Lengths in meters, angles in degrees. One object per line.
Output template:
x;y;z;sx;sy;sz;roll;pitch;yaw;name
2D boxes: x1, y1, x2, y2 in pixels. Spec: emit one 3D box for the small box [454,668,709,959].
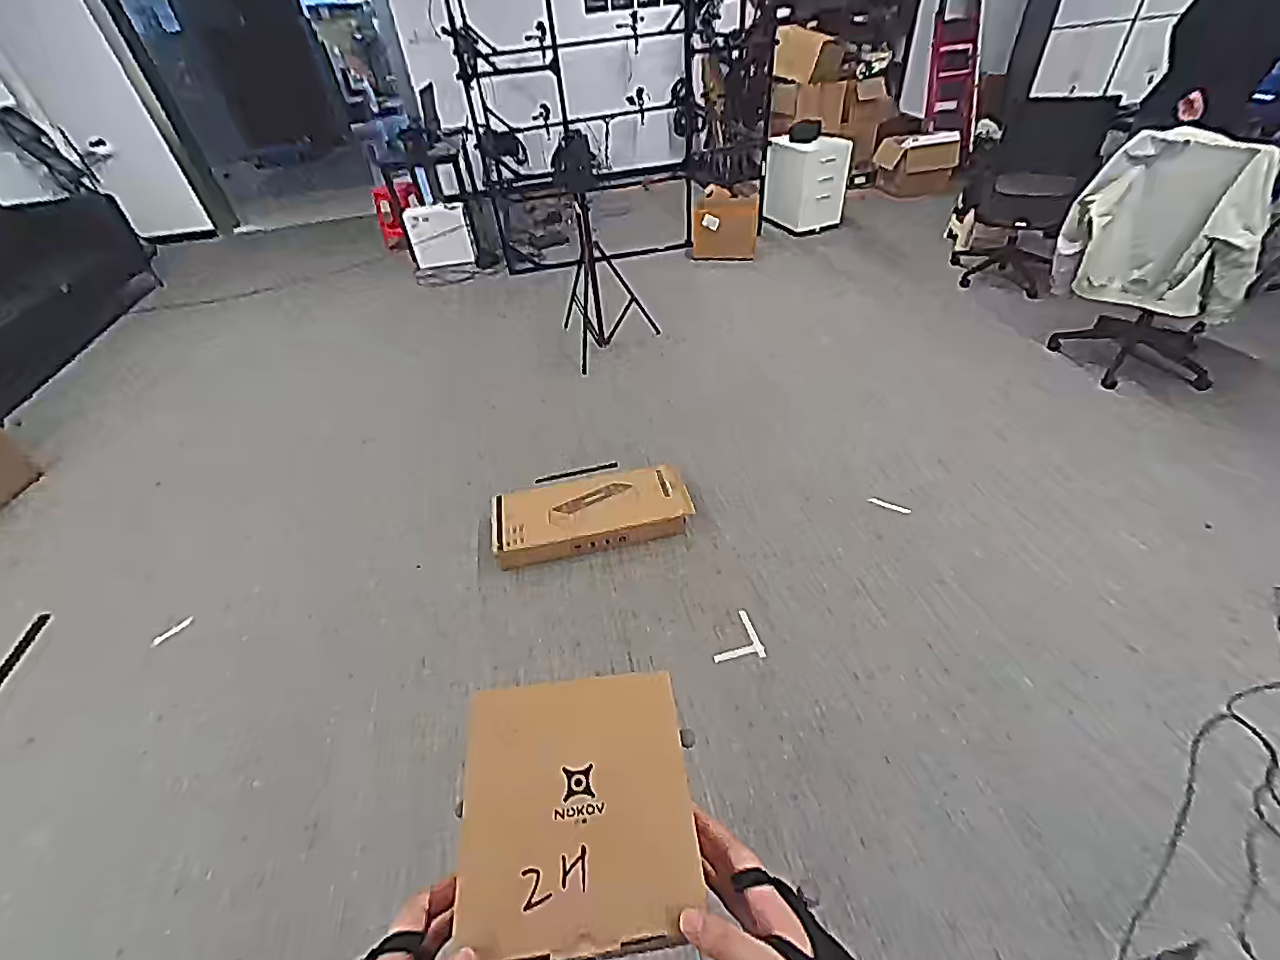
-0.047;0.284;0.456;0.168;0.176;0.179;-5;47;-6;small box
